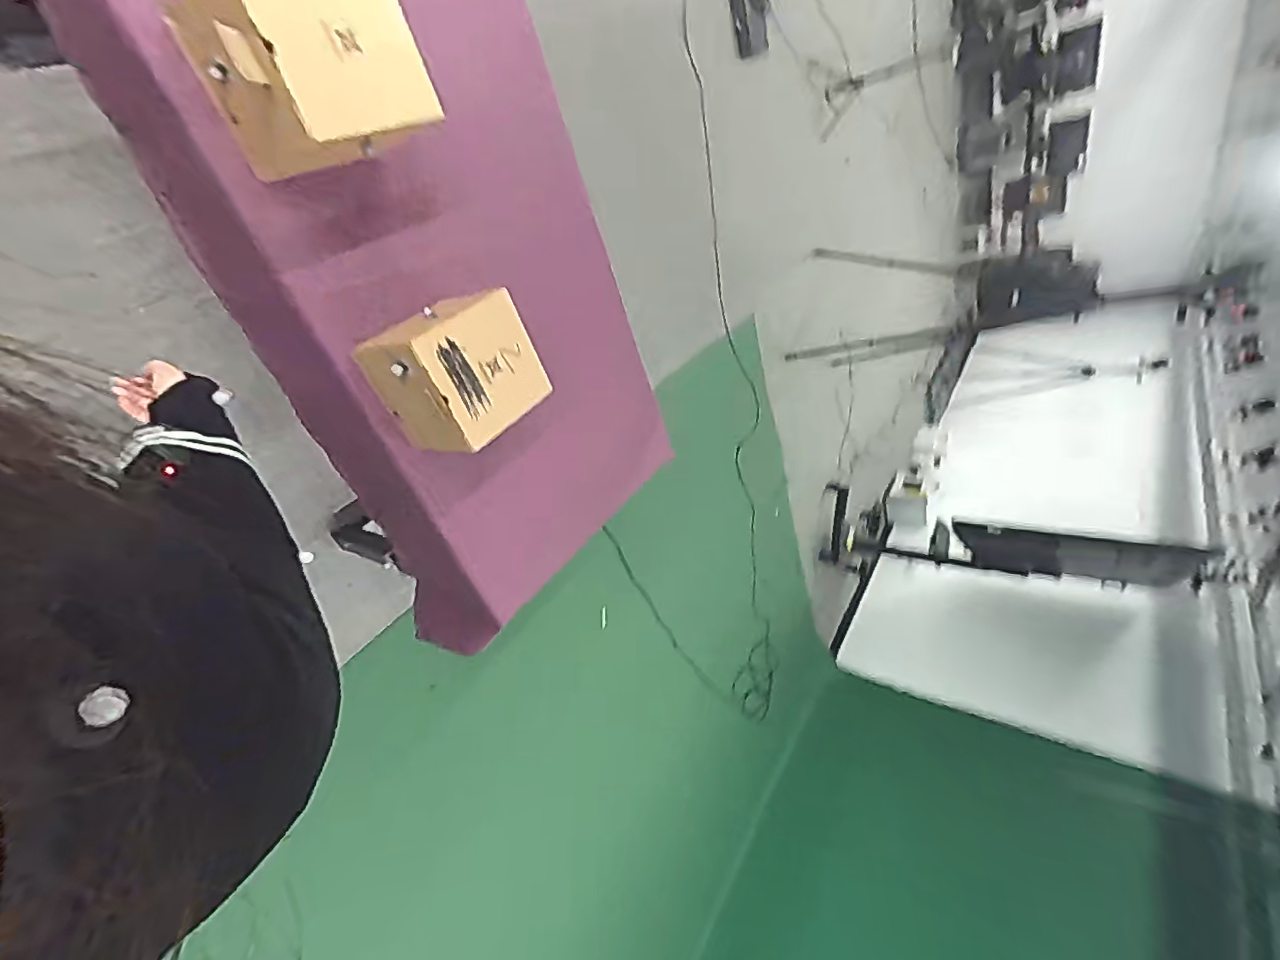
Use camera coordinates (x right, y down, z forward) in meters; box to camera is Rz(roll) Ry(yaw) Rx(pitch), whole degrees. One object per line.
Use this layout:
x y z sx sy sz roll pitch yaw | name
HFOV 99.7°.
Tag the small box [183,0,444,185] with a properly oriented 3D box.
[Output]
-0.376 -0.467 0.633 0.179 0.176 0.168 -45 128 -37 | small box
